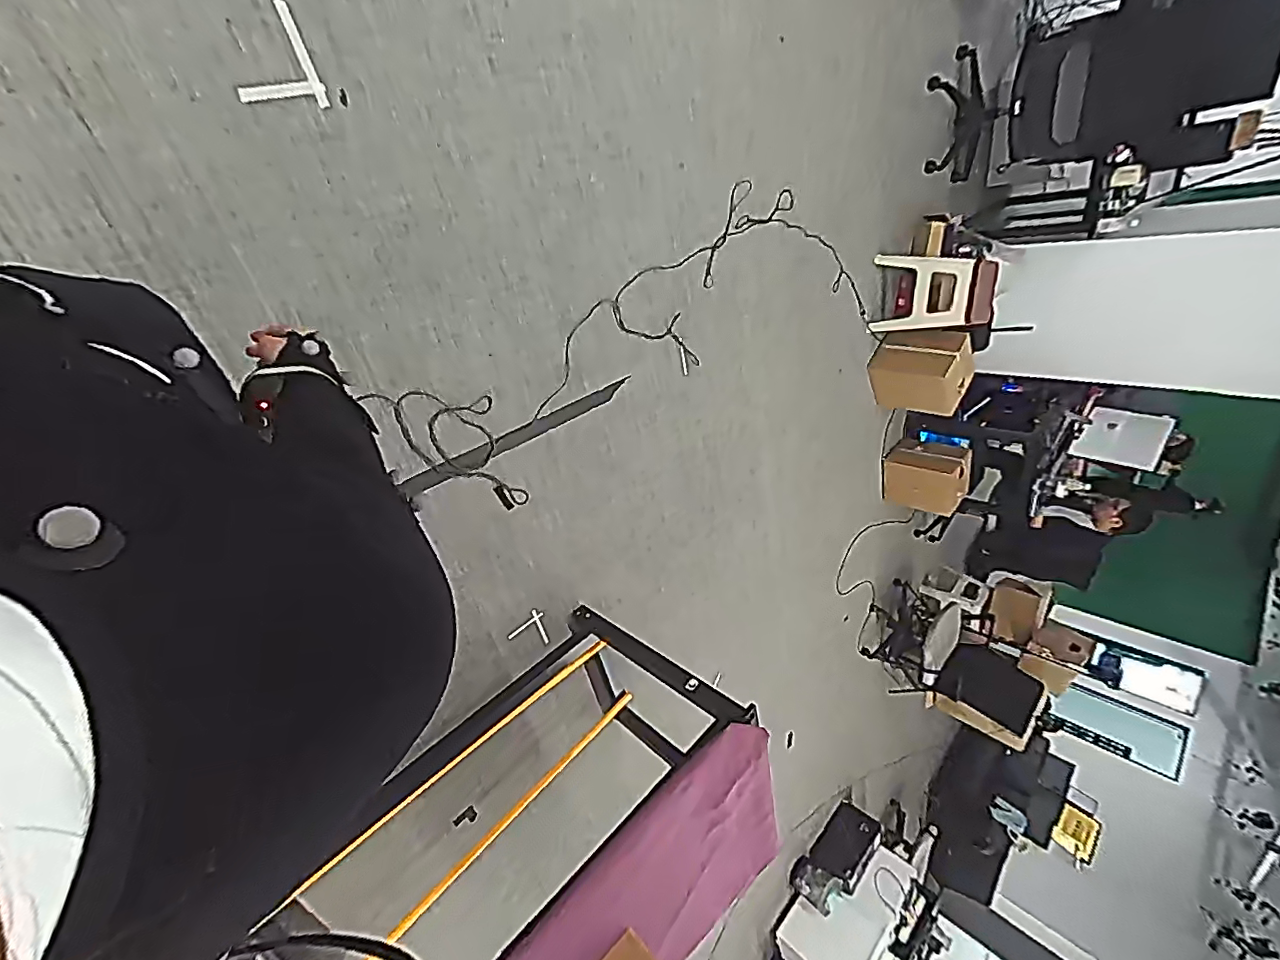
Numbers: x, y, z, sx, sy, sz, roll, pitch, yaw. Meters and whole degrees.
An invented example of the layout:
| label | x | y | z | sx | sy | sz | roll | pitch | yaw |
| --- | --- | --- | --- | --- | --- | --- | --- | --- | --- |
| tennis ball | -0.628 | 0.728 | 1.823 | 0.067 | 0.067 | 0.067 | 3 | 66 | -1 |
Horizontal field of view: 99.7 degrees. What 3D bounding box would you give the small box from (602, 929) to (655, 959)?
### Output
| label | x | y | z | sx | sy | sz | roll | pitch | yaw |
| --- | --- | --- | --- | --- | --- | --- | --- | --- | --- |
| small box | -0.020 | 1.143 | 1.172 | 0.179 | 0.176 | 0.168 | -33 | 124 | -32 |
